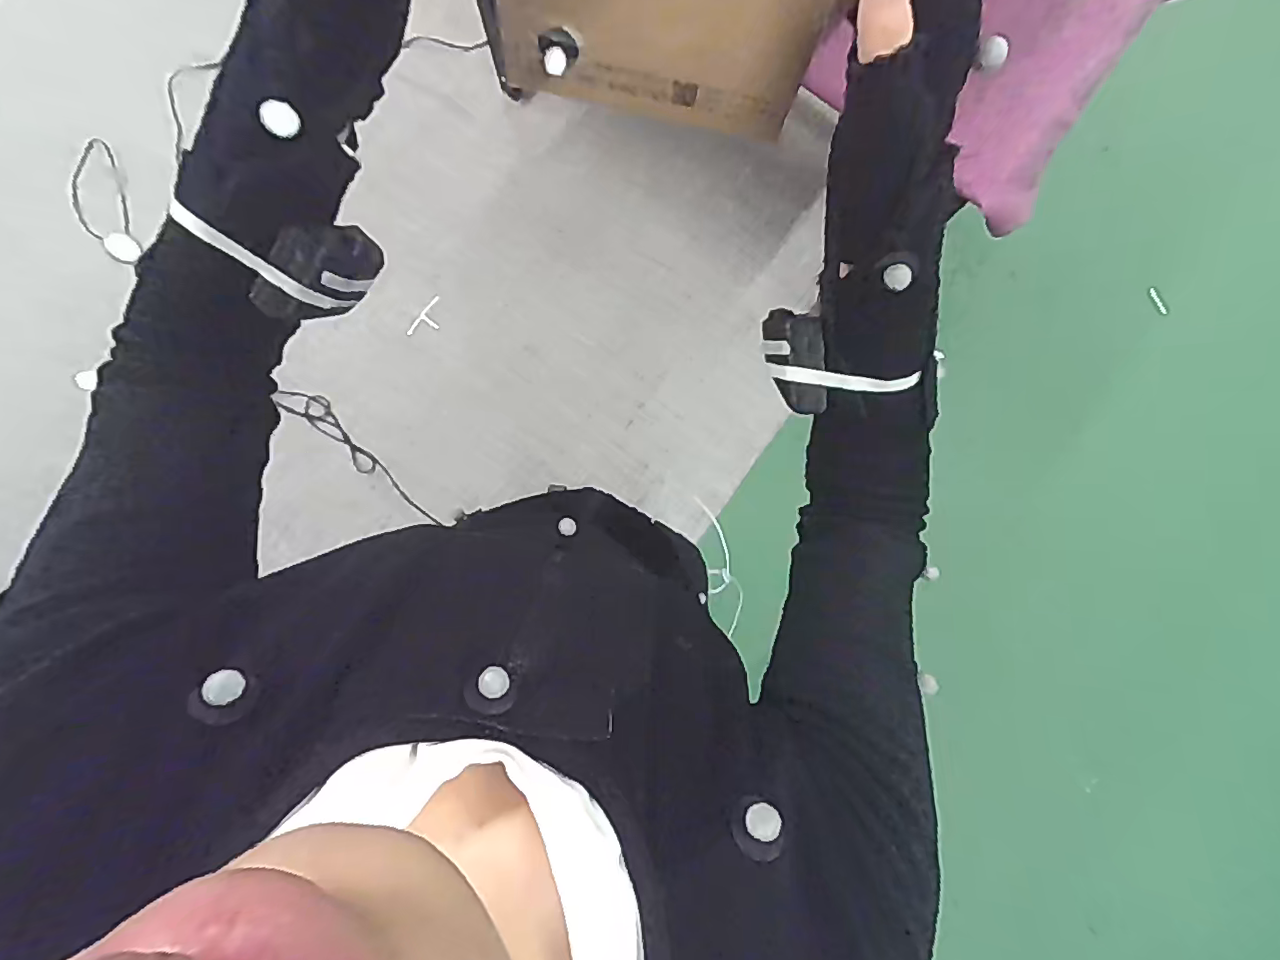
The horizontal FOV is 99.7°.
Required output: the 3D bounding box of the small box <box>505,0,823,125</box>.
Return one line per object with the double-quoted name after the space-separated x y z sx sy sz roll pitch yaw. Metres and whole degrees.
0.023 -0.320 0.263 0.168 0.176 0.179 10 78 -4 "small box"
